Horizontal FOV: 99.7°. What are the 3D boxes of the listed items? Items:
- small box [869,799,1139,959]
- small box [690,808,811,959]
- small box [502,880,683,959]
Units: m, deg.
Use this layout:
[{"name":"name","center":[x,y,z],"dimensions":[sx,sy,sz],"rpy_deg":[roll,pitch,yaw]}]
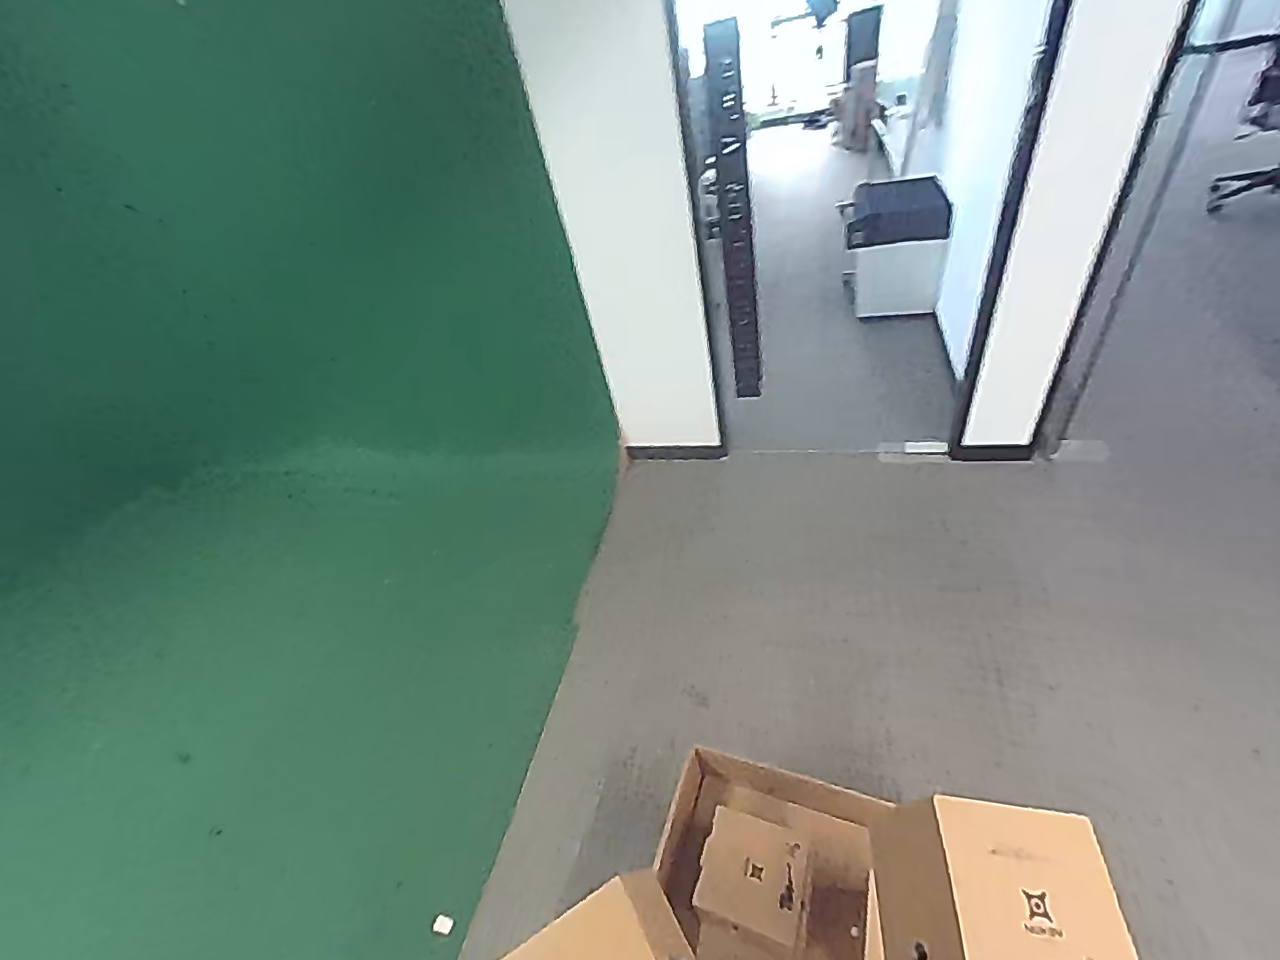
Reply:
[{"name":"small box","center":[0.357,0.452,0.554],"dimensions":[0.168,0.176,0.179],"rpy_deg":[9,50,0]},{"name":"small box","center":[0.208,0.744,0.988],"dimensions":[0.179,0.176,0.168],"rpy_deg":[7,44,25]},{"name":"small box","center":[-0.038,0.557,0.564],"dimensions":[0.168,0.176,0.179],"rpy_deg":[-31,56,-8]}]
